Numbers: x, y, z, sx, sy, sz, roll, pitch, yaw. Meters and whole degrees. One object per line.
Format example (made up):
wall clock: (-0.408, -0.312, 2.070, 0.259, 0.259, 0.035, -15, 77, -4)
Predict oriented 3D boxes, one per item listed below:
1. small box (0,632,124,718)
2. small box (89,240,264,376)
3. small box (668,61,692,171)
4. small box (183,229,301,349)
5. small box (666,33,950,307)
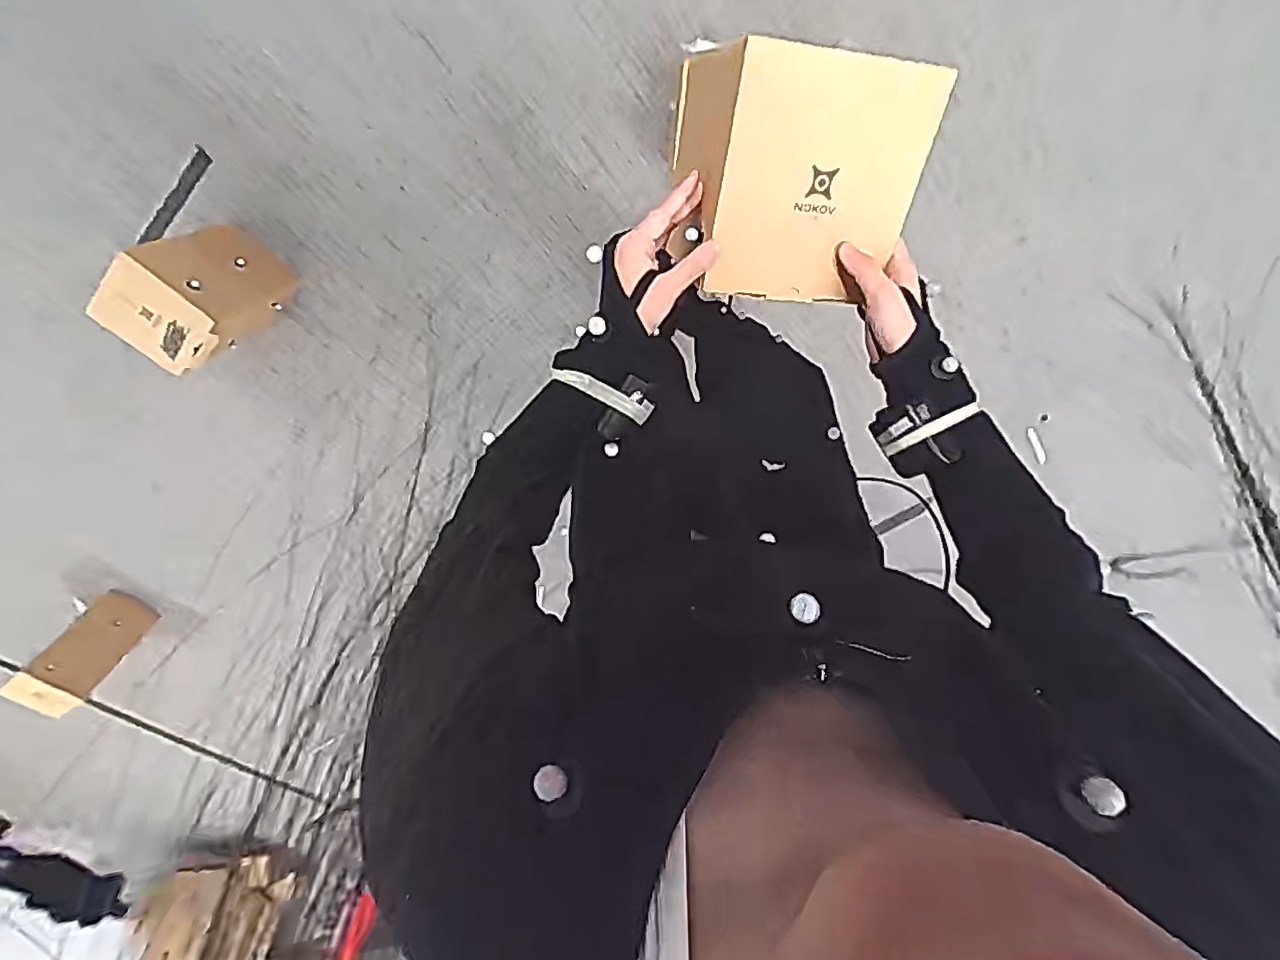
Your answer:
small box: (-1.784, 0.595, 1.673, 0.168, 0.176, 0.179, -30, 120, 18)
small box: (-0.904, -0.346, 1.073, 0.168, 0.176, 0.179, -38, 116, 21)
small box: (0.149, -0.695, 1.059, 0.168, 0.176, 0.179, 4, 123, -4)
small box: (-0.911, -0.434, 1.213, 0.168, 0.176, 0.179, -39, 115, 21)
small box: (0.126, -0.274, 0.489, 0.168, 0.176, 0.179, 0, 126, -11)
